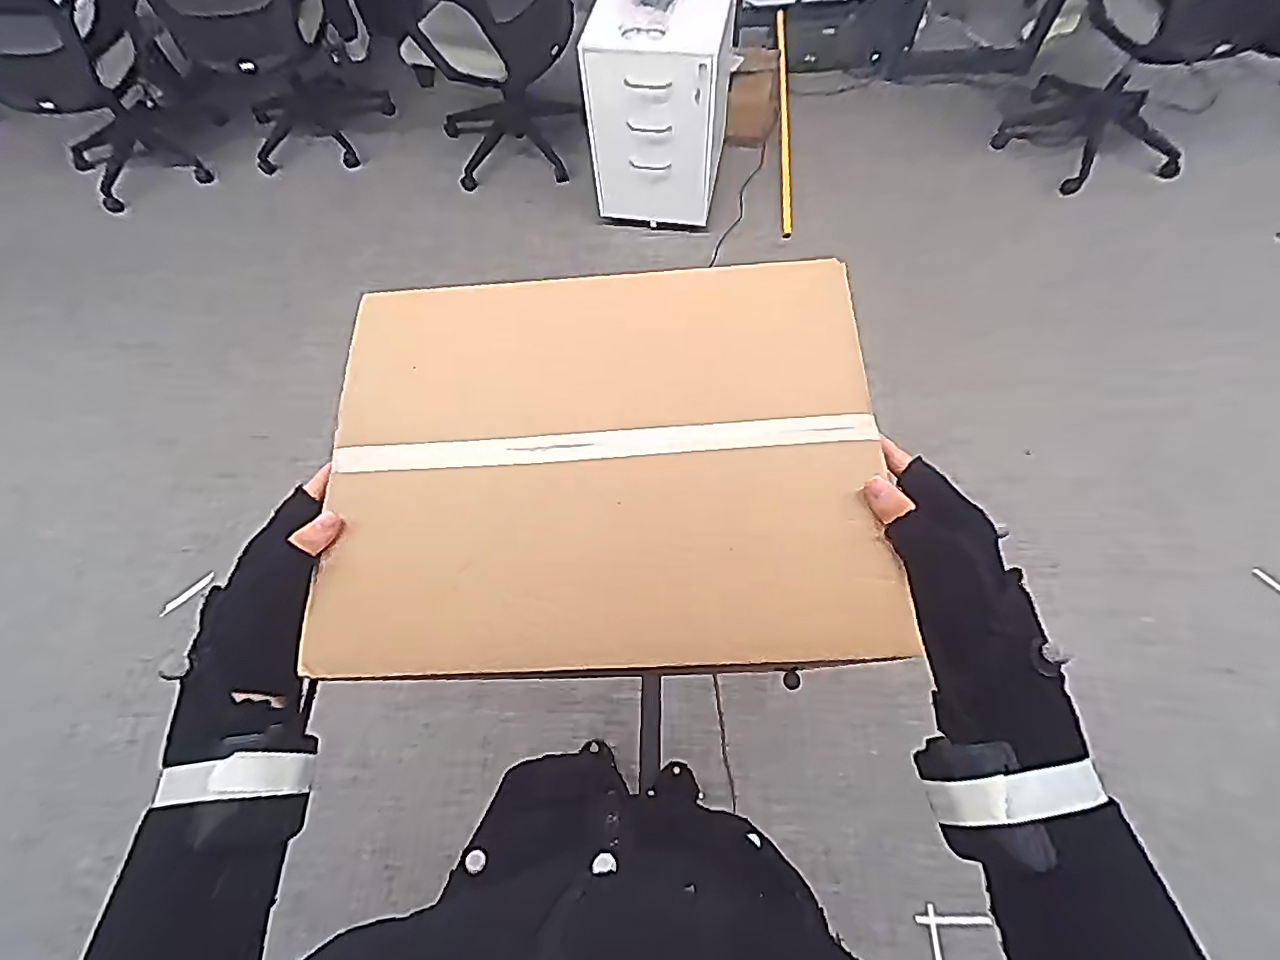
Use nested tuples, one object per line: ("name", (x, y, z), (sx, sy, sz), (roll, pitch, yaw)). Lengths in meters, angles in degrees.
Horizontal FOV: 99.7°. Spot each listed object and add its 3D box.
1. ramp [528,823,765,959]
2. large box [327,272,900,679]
("ramp", (0.002, 1.199, 0.951), (0.509, 0.206, 0.991), (-2, 64, 4))
("large box", (-0.017, 0.030, 0.556), (0.408, 0.320, 0.320), (-3, 69, 4))
